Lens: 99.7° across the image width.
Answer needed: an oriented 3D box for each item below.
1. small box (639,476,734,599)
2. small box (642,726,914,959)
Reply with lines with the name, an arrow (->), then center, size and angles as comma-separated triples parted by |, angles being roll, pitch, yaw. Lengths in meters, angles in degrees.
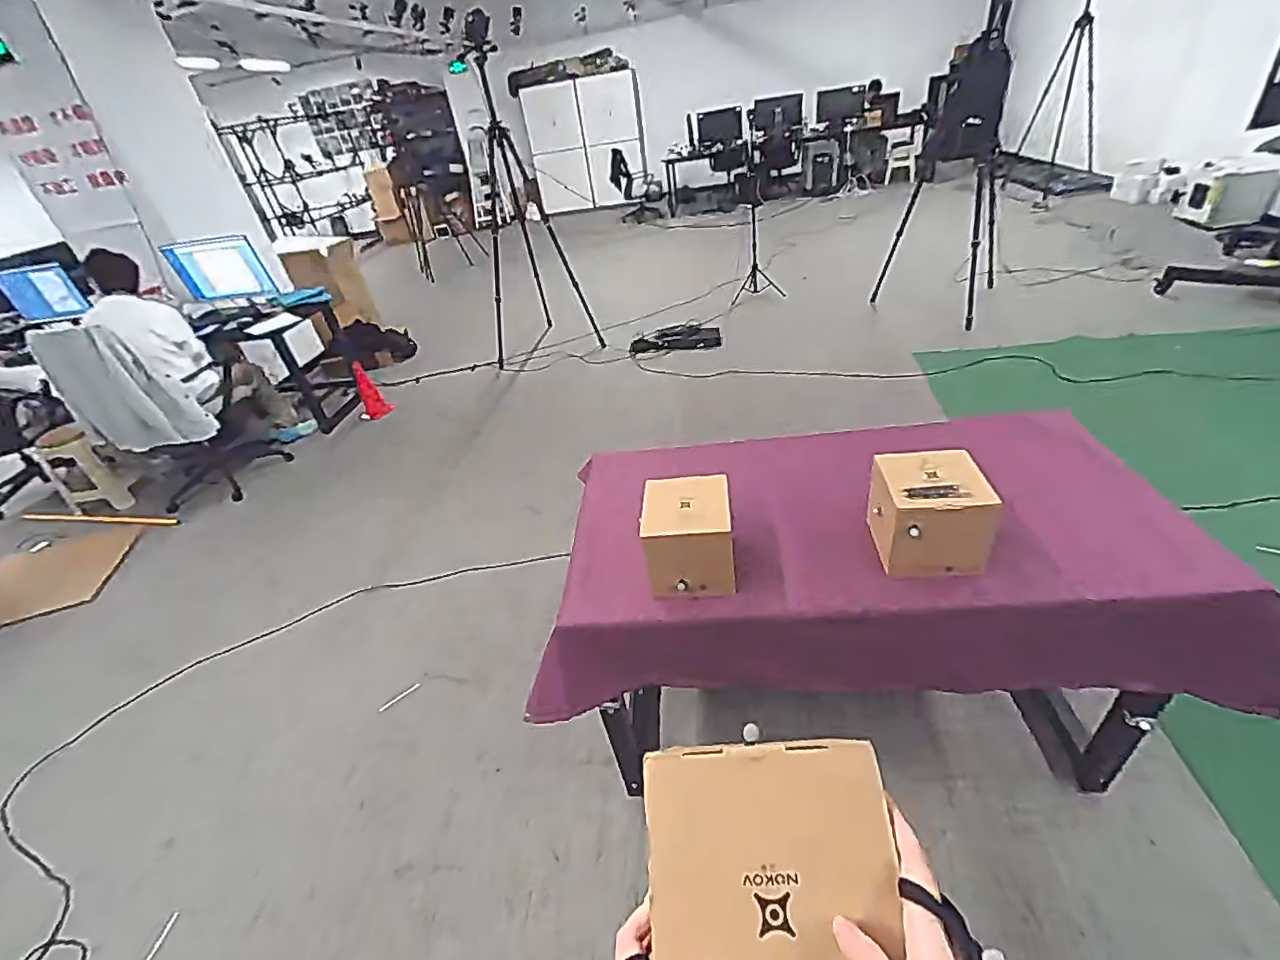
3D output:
small box -> 0.097, 0.114, 1.072 | 0.168, 0.176, 0.179 | -5, 36, 10
small box -> 0.099, 0.298, 0.428 | 0.168, 0.176, 0.179 | -8, 64, 8
